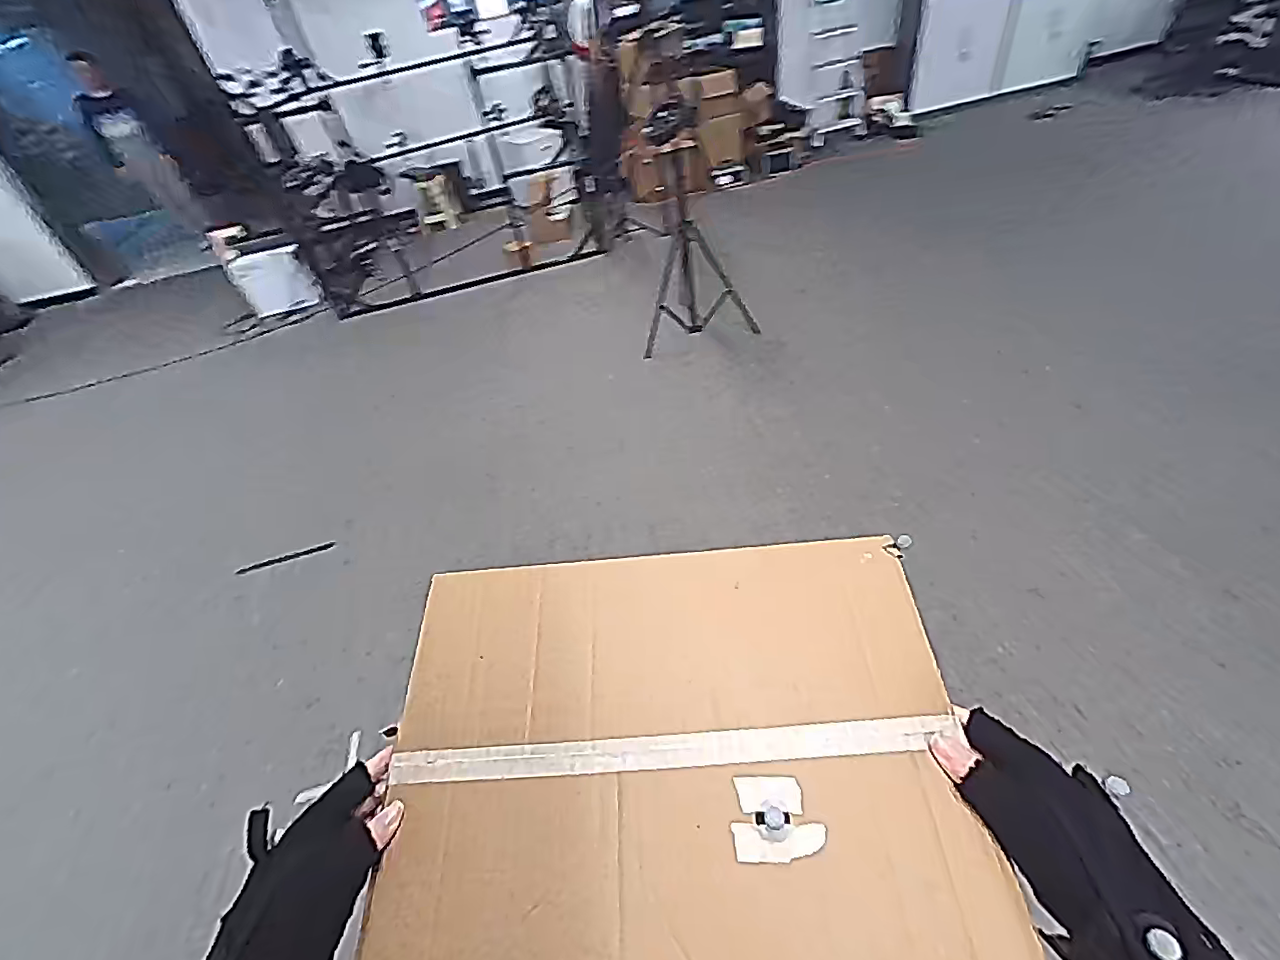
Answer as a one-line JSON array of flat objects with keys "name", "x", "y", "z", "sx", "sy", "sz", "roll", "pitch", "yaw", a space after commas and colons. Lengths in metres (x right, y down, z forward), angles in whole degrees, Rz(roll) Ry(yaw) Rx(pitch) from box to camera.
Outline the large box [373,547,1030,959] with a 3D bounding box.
[{"name": "large box", "x": 0.034, "y": 0.292, "z": 0.514, "sx": 0.408, "sy": 0.320, "sz": 0.320, "roll": -6, "pitch": 54, "yaw": 2}]
